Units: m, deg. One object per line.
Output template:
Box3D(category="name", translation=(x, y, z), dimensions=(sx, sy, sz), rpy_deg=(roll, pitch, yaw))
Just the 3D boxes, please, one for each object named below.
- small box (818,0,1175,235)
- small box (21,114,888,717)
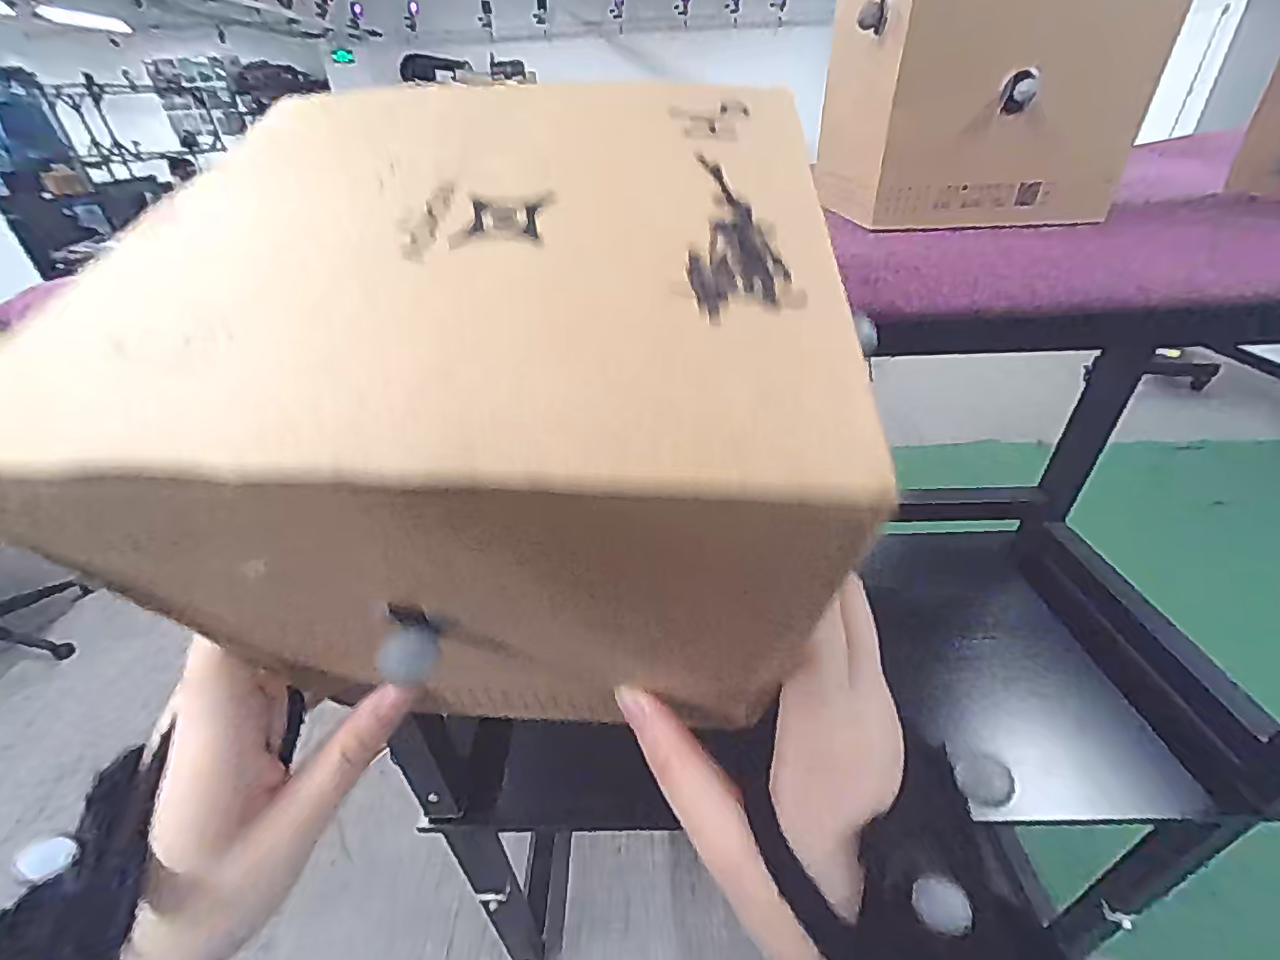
Box3D(category="small box", translation=(0.249, -0.292, 0.418), dimensions=(0.168, 0.176, 0.179), rpy_deg=(0, 34, 1))
Box3D(category="small box", translation=(-0.031, -0.012, 0.212), dimensions=(0.179, 0.176, 0.168), rpy_deg=(1, 57, 4))
